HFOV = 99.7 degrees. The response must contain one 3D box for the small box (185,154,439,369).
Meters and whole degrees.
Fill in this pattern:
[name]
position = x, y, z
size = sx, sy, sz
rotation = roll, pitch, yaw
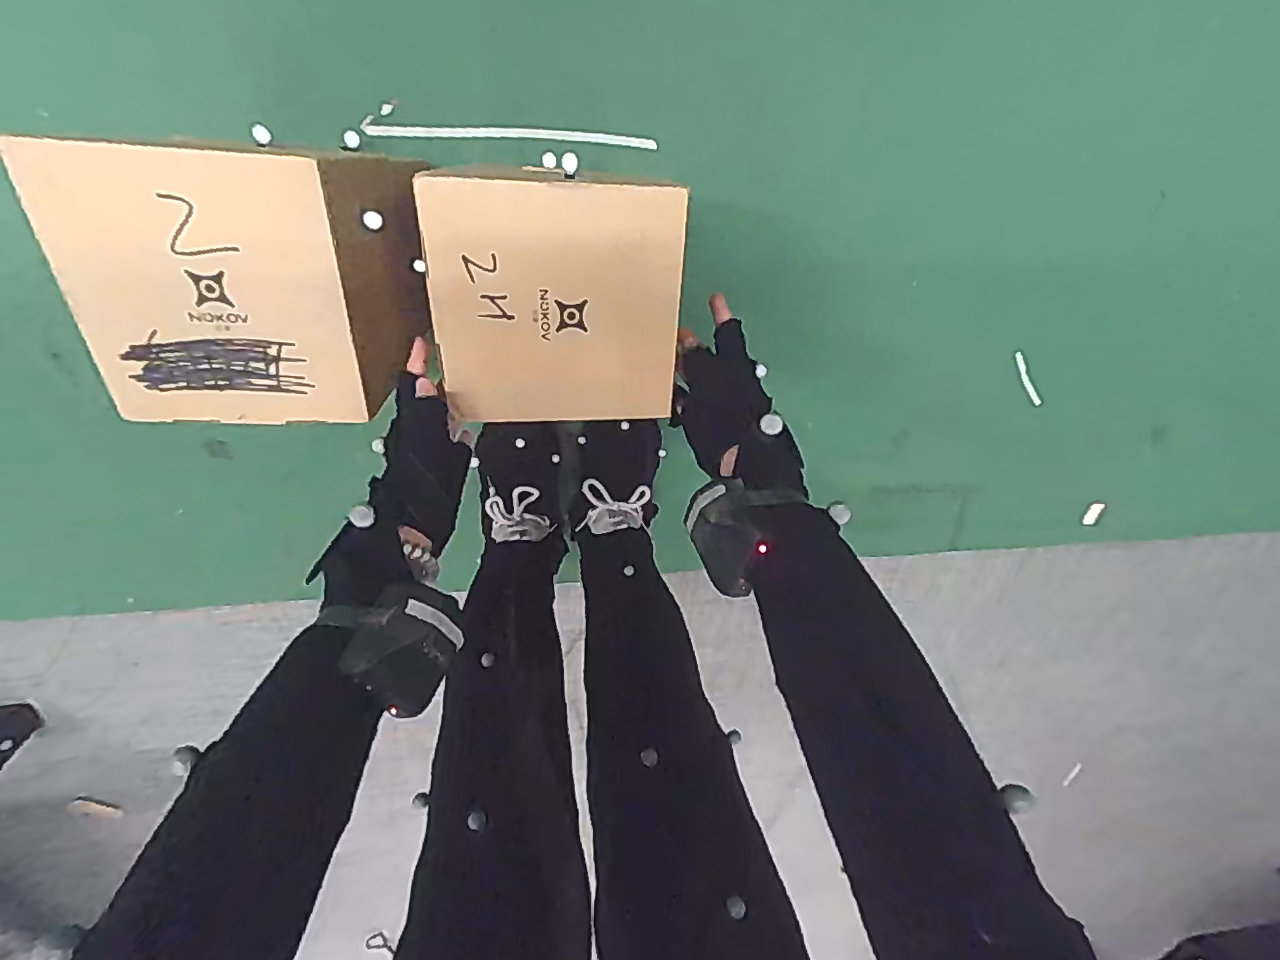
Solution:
[small box]
position = -0.316, -0.233, 0.570
size = 0.168, 0.176, 0.179
rotation = 1, 121, -10
